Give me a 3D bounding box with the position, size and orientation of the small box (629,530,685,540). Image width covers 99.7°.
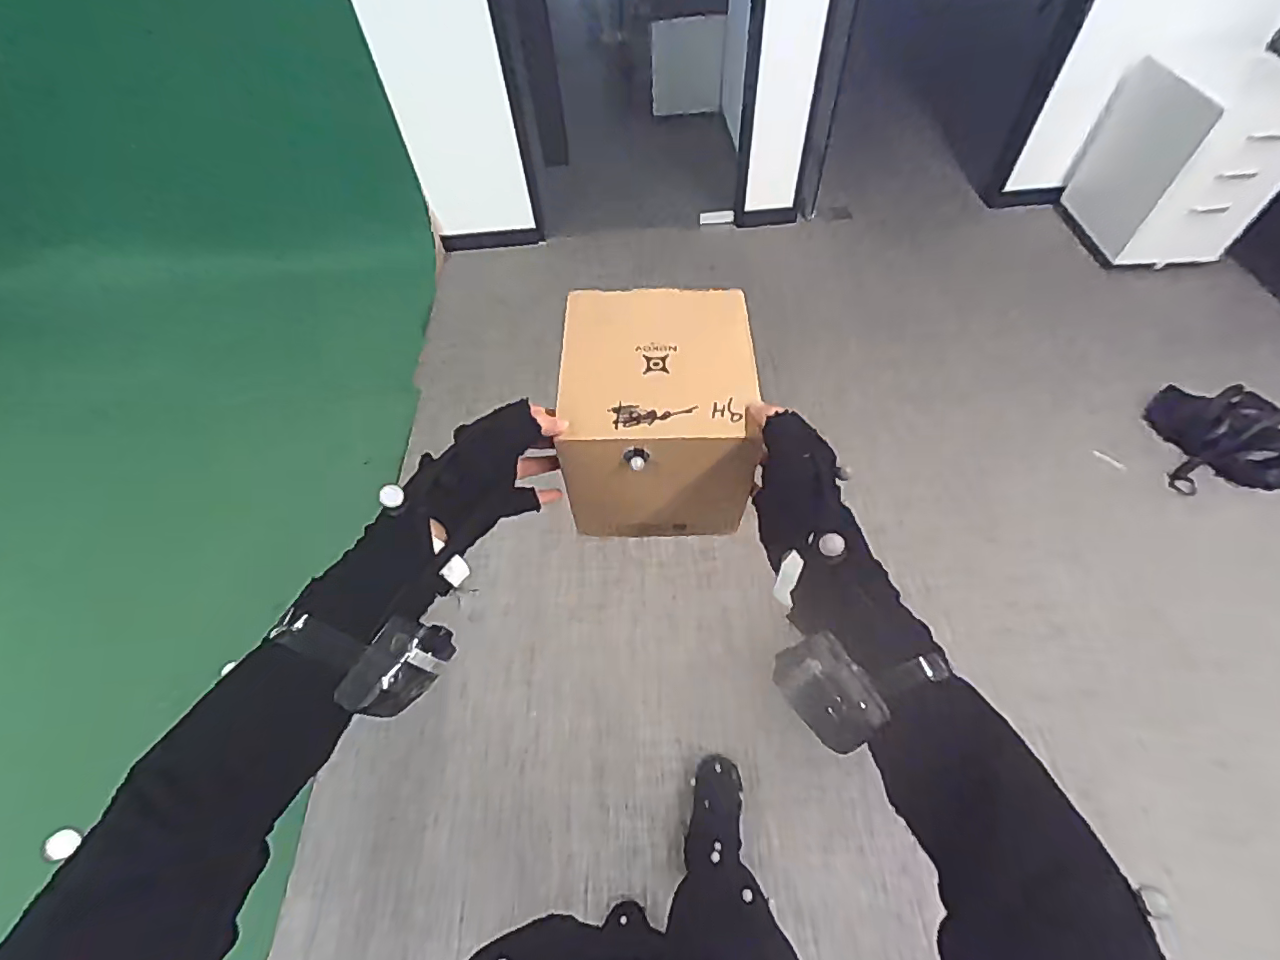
[{"bbox_3d":[0.052,0.070,1.623,0.179,0.176,0.168,-3,54,3],"label":"small box"}]

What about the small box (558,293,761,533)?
[{"bbox_3d":[0.017,-0.064,0.541,0.168,0.176,0.179,-1,57,1],"label":"small box"}]
